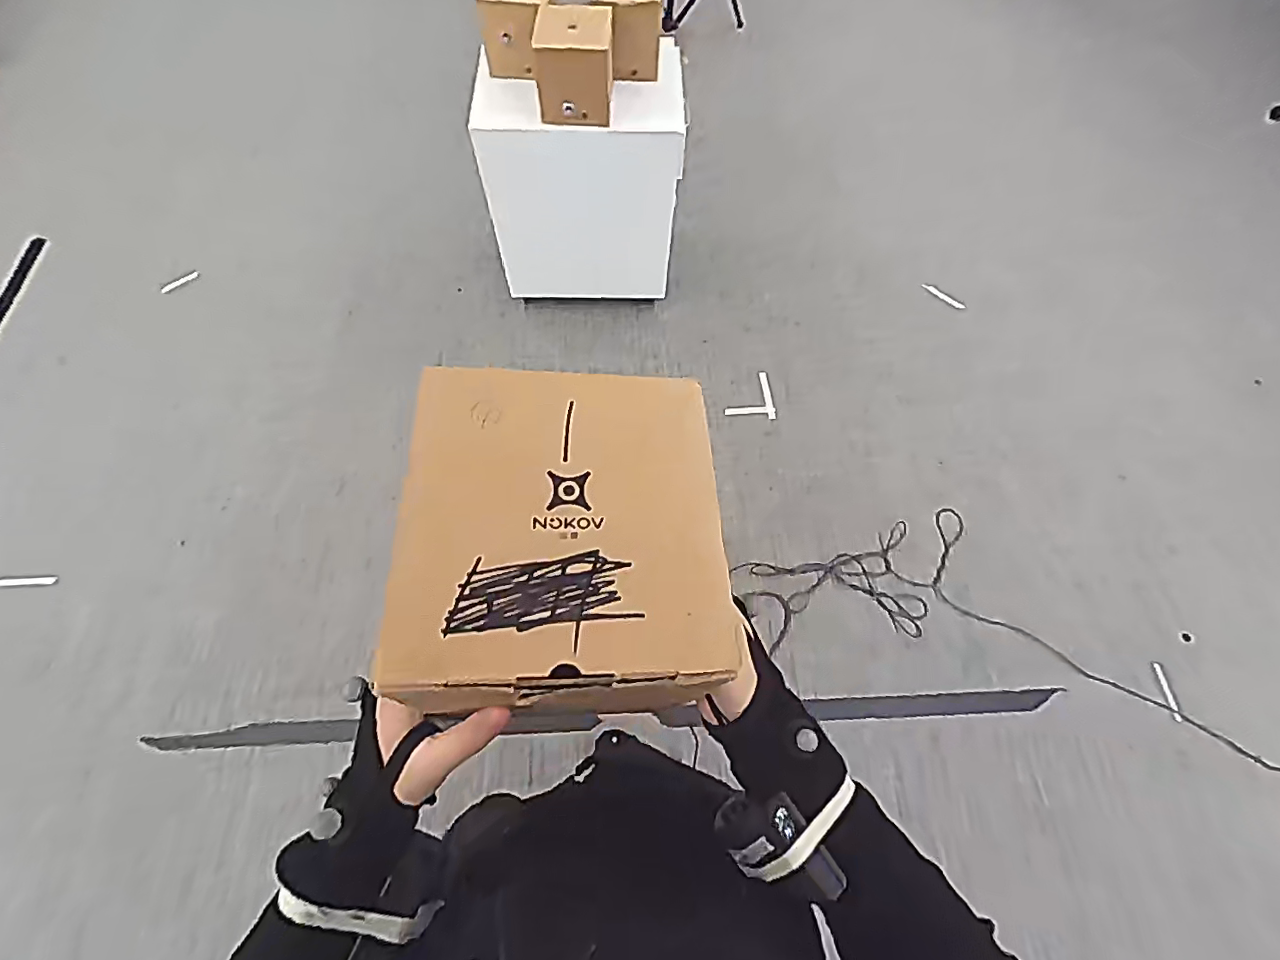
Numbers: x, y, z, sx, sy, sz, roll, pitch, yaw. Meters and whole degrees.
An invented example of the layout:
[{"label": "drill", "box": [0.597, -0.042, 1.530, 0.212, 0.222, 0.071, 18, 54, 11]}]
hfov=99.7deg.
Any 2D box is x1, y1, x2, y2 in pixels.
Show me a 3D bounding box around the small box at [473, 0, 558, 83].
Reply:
[{"label": "small box", "box": [-0.295, -1.108, 1.320, 0.168, 0.176, 0.179, 2, 65, -1]}]
